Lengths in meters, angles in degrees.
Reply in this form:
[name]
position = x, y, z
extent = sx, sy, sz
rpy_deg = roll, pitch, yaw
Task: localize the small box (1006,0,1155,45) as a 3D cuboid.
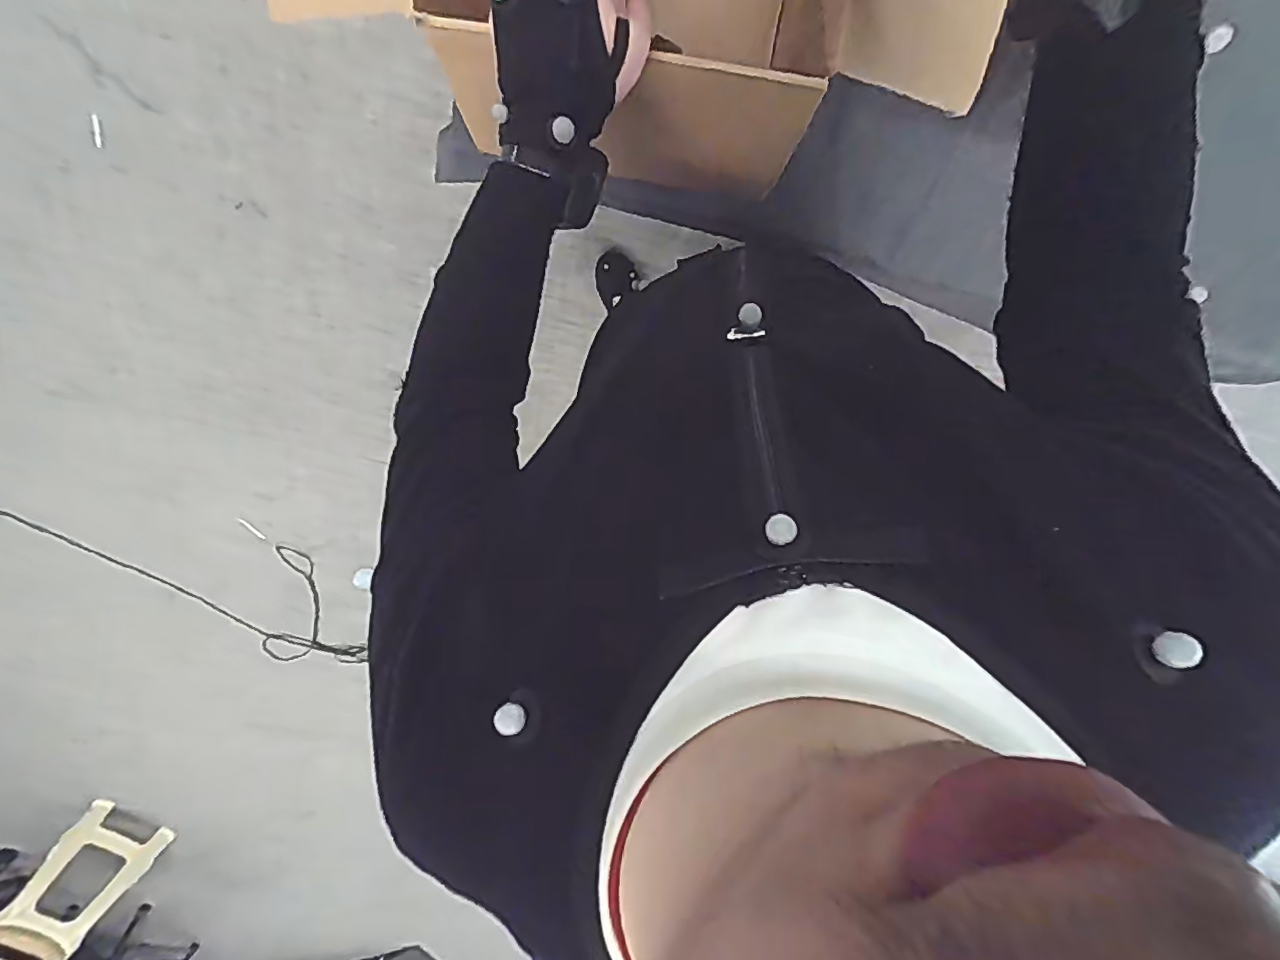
[small box]
position = 0.458, -0.569, 0.513
extent = 0.168, 0.176, 0.179
rpy_deg = 26, 111, -12
